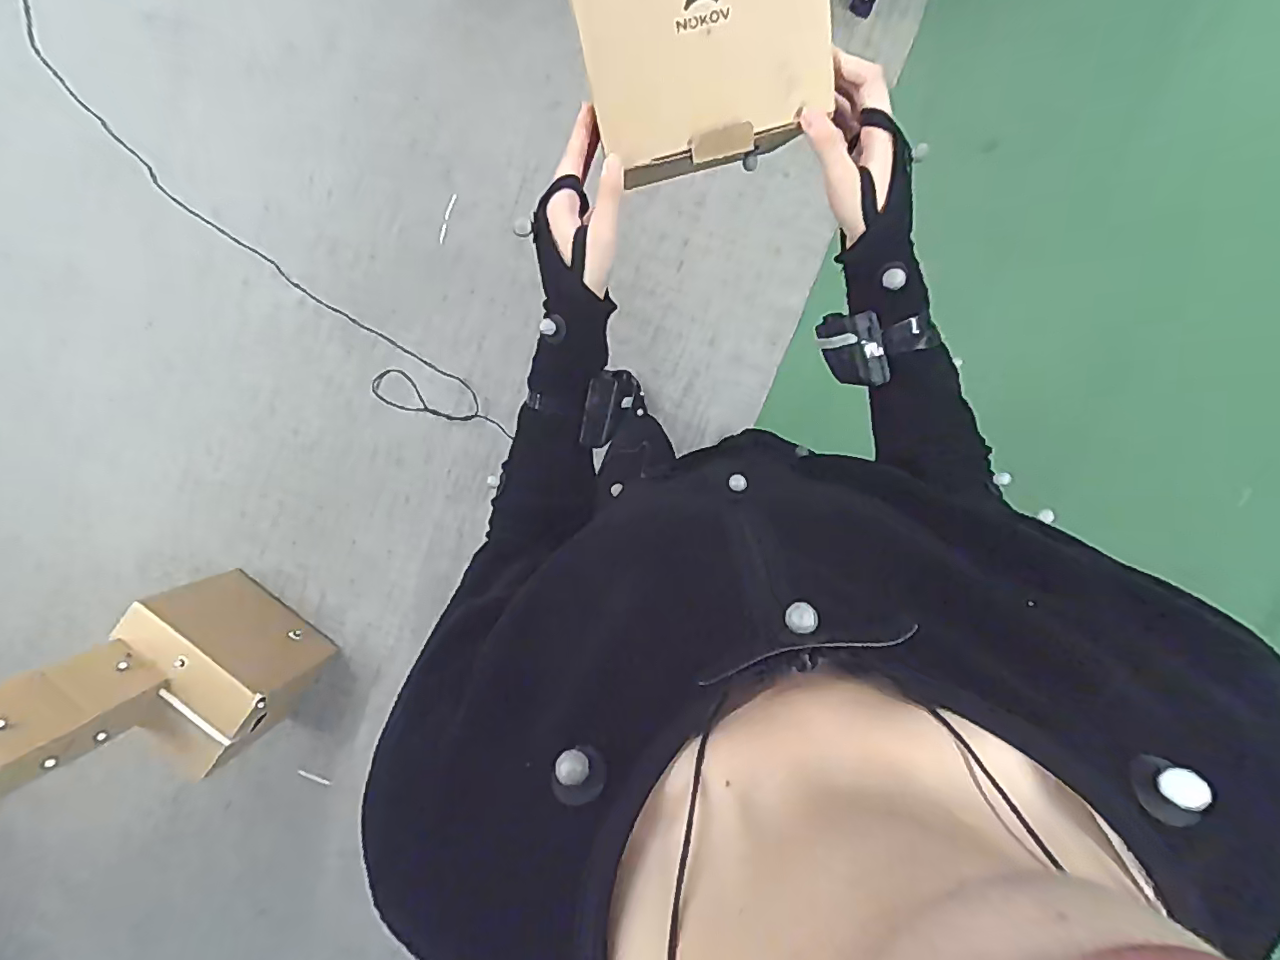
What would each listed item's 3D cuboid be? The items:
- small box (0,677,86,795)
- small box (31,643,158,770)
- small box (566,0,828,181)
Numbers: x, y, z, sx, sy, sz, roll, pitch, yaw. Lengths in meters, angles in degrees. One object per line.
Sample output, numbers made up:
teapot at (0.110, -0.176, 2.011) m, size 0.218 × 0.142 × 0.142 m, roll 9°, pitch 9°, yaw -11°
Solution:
small box at (-1.319, 0.534, 1.105) m, size 0.179 × 0.176 × 0.168 m, roll 41°, pitch 99°, yaw -1°
small box at (-1.298, 0.521, 1.266) m, size 0.168 × 0.176 × 0.179 m, roll 40°, pitch 98°, yaw -1°
small box at (0.033, -0.346, 0.419) m, size 0.168 × 0.176 × 0.179 m, roll -12°, pitch 114°, yaw 3°
